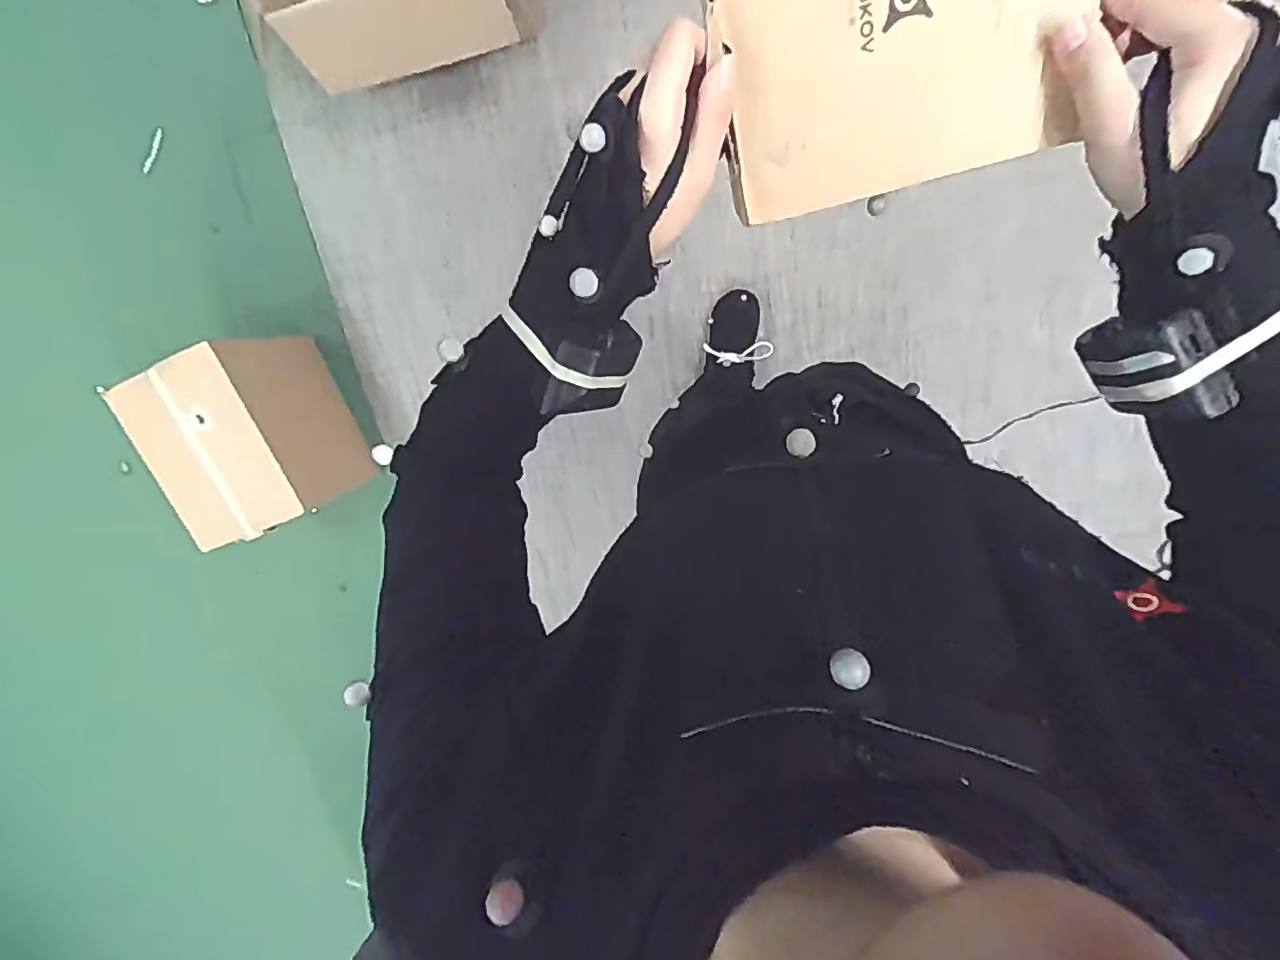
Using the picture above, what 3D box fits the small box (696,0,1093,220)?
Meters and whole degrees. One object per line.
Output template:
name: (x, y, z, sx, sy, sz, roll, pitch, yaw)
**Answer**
small box: (0.128, -0.269, 0.325, 0.179, 0.176, 0.168, -11, 118, 12)
